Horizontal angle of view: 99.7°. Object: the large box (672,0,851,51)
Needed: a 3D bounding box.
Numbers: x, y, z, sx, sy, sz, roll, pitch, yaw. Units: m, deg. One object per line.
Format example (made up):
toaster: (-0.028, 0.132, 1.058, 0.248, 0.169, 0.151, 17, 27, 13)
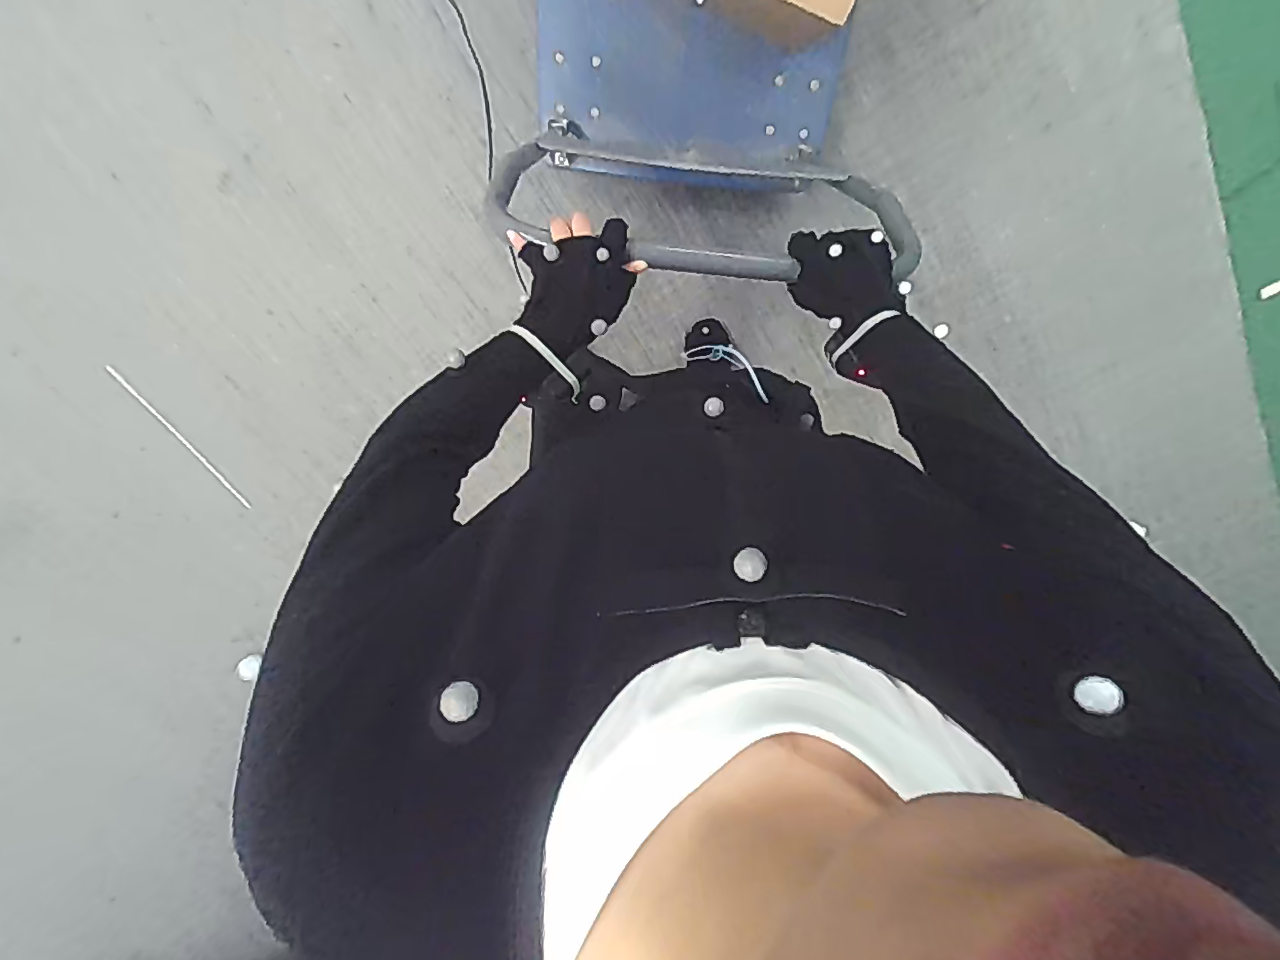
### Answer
large box: (0.147, -0.889, 0.784, 0.408, 0.320, 0.320, 17, 122, -9)
